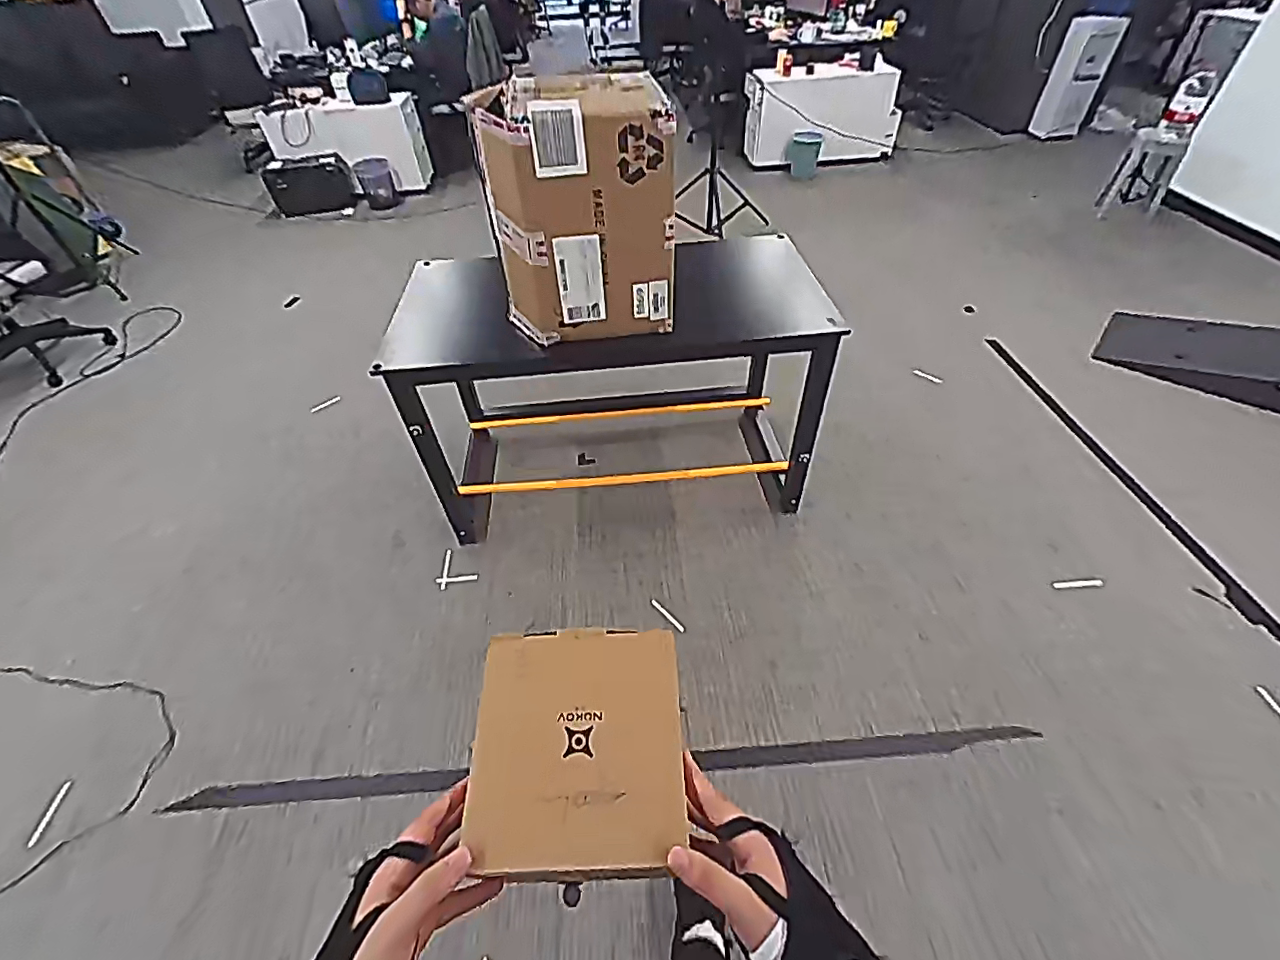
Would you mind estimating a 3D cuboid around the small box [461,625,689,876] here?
[{"bbox_3d":[-0.049,0.250,0.496,0.168,0.176,0.179,-1,52,-1],"label":"small box"}]
